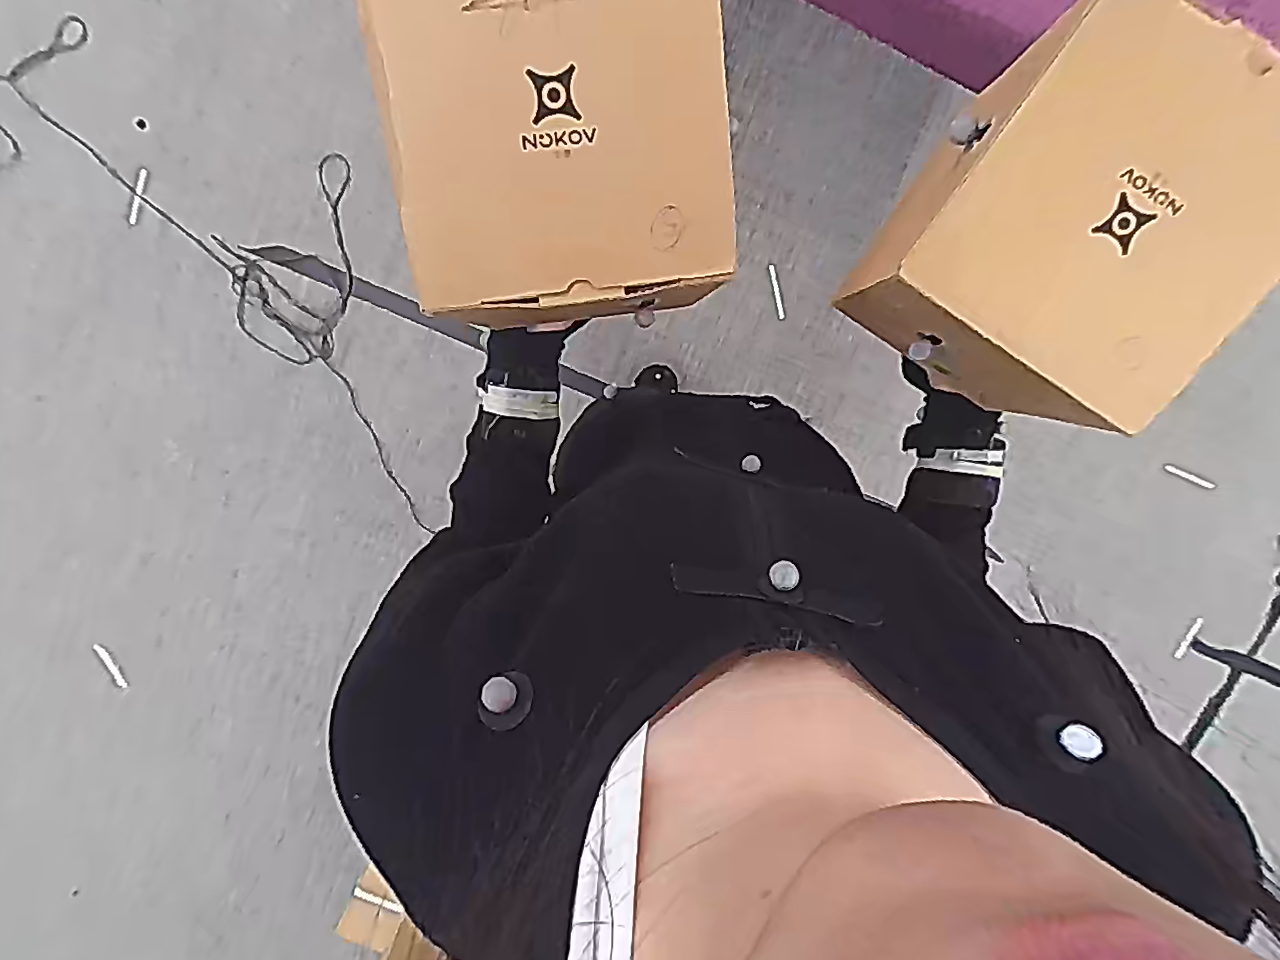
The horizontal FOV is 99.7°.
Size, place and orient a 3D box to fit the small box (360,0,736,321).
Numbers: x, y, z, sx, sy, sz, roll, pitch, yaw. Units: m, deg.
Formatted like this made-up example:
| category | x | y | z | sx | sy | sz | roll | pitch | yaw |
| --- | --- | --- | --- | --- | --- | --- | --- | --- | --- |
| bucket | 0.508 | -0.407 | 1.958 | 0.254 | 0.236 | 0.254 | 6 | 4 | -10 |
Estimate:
| category | x | y | z | sx | sy | sz | roll | pitch | yaw |
| --- | --- | --- | --- | --- | --- | --- | --- | --- | --- |
| small box | -0.044 | -0.197 | 0.335 | 0.168 | 0.176 | 0.179 | -8 | 102 | -2 |

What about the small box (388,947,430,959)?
| category | x | y | z | sx | sy | sz | roll | pitch | yaw |
| --- | --- | --- | --- | --- | --- | --- | --- | --- | --- |
| small box | -0.518 | 1.176 | 1.169 | 0.168 | 0.176 | 0.179 | 26 | 99 | -5 |

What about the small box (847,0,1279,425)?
| category | x | y | z | sx | sy | sz | roll | pitch | yaw |
| --- | --- | --- | --- | --- | --- | --- | --- | --- | --- |
| small box | 0.263 | -0.159 | 0.360 | 0.168 | 0.176 | 0.179 | 33 | 103 | -1 |
